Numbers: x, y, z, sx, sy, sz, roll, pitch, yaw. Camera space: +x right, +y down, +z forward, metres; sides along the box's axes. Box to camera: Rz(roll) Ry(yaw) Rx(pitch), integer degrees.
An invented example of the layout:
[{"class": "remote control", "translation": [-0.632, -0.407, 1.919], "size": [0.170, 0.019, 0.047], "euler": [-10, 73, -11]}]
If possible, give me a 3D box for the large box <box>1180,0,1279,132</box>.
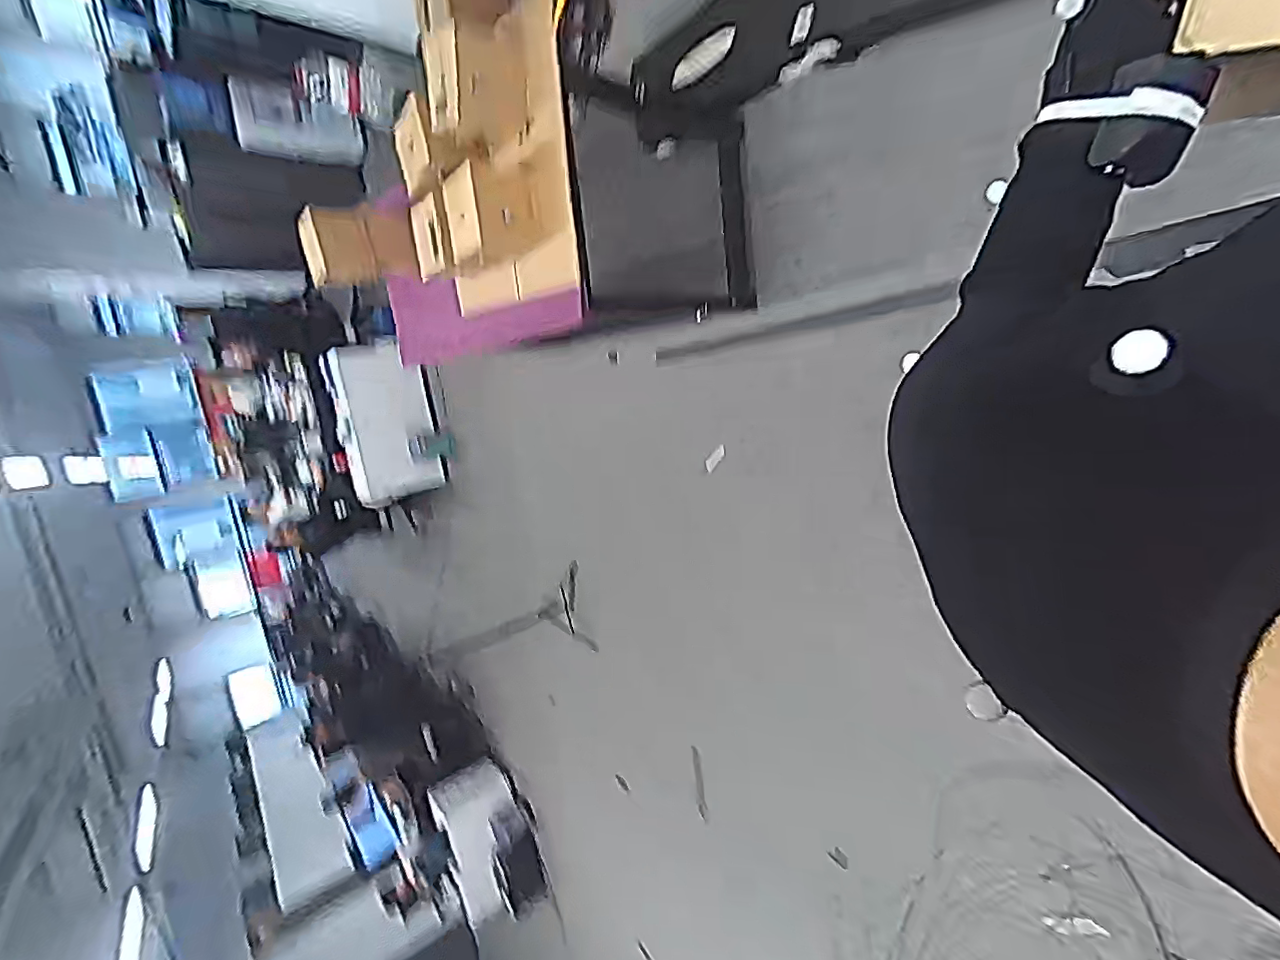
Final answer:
[{"class": "large box", "translation": [0.596, -0.389, 0.260], "size": [0.408, 0.320, 0.320], "euler": [24, 124, 40]}]
